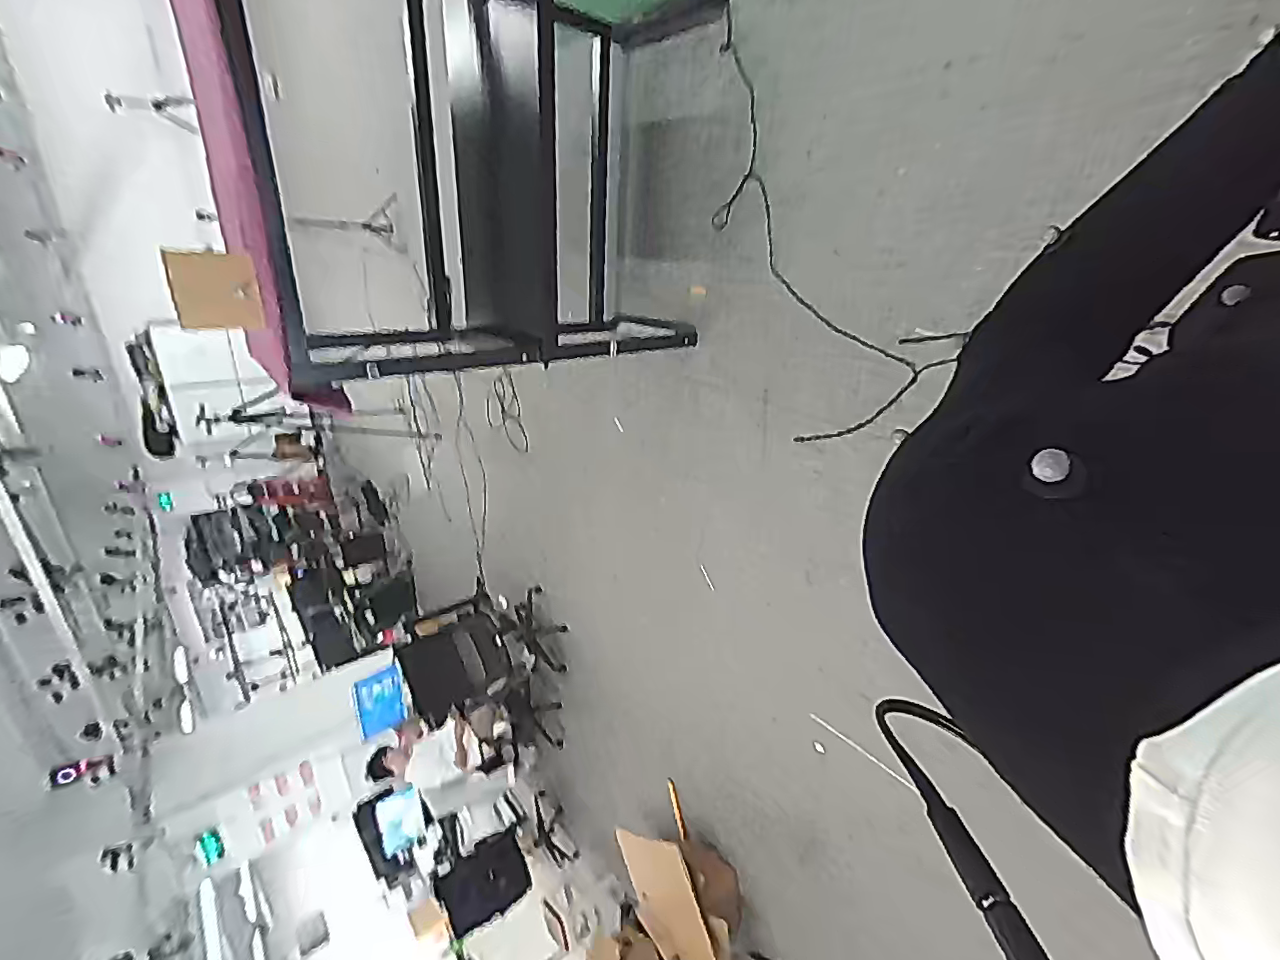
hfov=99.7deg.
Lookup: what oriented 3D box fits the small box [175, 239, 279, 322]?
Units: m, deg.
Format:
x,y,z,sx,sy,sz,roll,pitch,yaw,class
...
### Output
x,y,z,sx,sy,sz,roll,pitch,yaw,class
-0.999,-0.481,1.311,0.168,0.176,0.179,26,121,47,small box
